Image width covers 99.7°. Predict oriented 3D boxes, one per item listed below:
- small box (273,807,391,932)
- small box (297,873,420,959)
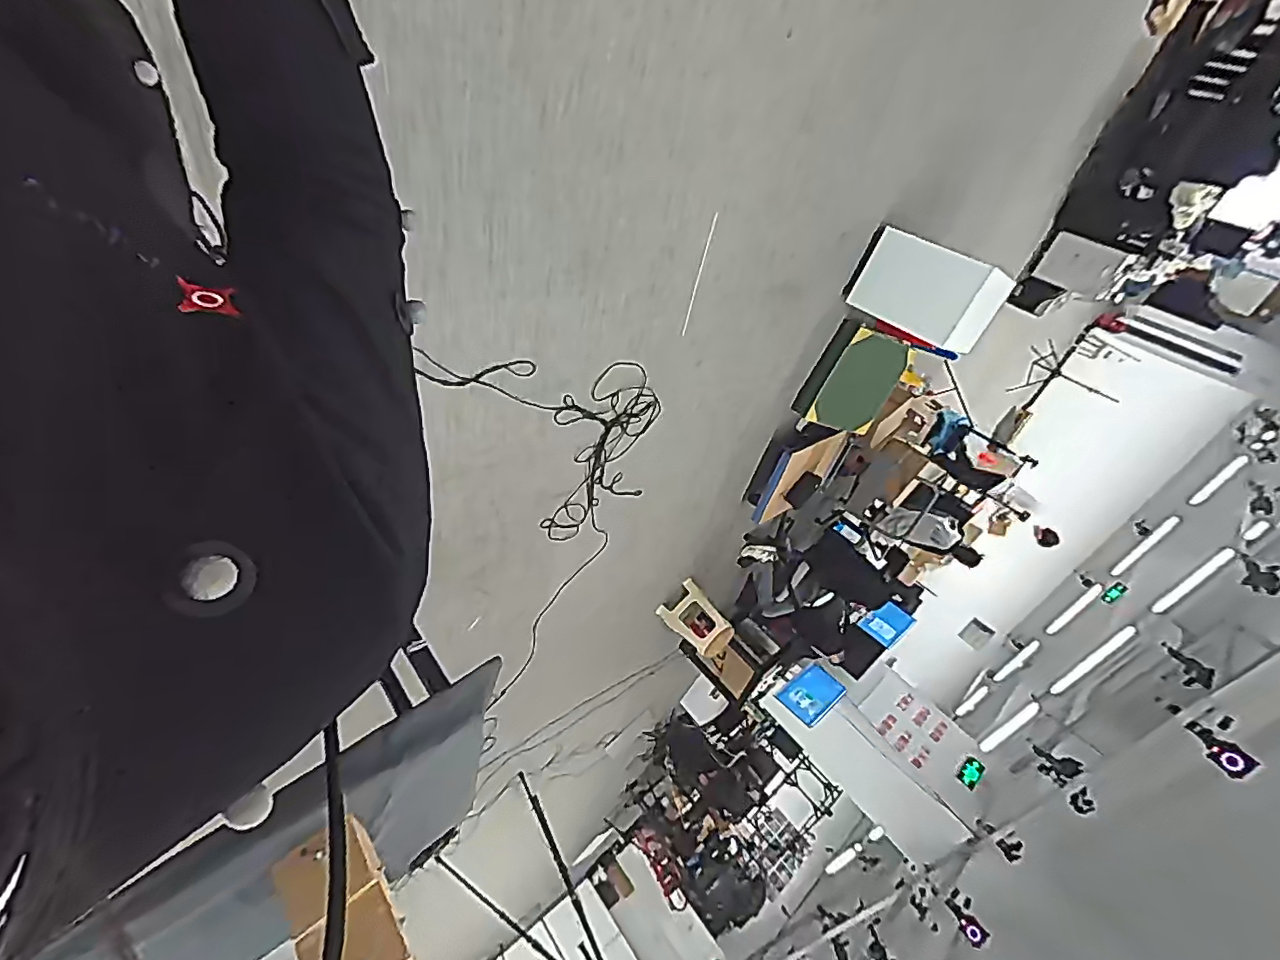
[{"bbox_3d":[-0.696,0.887,1.229,0.168,0.176,0.179,-28,144,-31],"label":"small box"},{"bbox_3d":[-0.598,0.995,1.156,0.179,0.176,0.168,-24,141,-34],"label":"small box"}]
